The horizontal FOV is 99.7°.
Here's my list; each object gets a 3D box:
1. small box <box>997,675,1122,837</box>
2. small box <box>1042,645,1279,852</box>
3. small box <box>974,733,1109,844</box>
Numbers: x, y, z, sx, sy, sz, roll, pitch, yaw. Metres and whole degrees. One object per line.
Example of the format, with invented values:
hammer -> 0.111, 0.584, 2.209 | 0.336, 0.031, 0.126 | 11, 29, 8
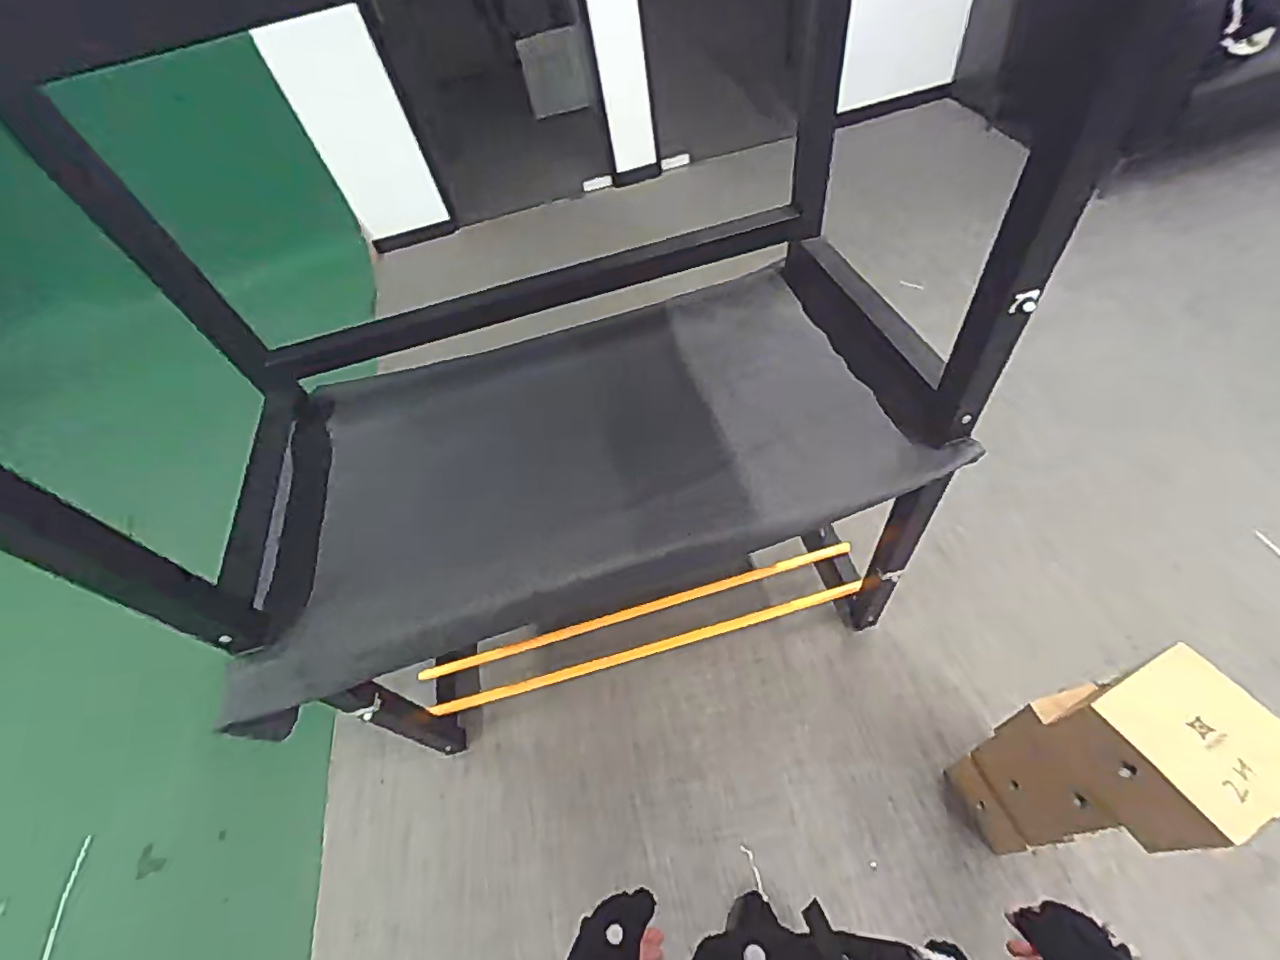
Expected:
small box -> 0.713, 0.439, 0.854 | 0.168, 0.176, 0.179 | -17, 52, -1
small box -> 0.691, 0.357, 0.713 | 0.168, 0.176, 0.179 | -27, 54, -9
small box -> 0.753, 0.537, 0.979 | 0.168, 0.176, 0.179 | -18, 51, -3
